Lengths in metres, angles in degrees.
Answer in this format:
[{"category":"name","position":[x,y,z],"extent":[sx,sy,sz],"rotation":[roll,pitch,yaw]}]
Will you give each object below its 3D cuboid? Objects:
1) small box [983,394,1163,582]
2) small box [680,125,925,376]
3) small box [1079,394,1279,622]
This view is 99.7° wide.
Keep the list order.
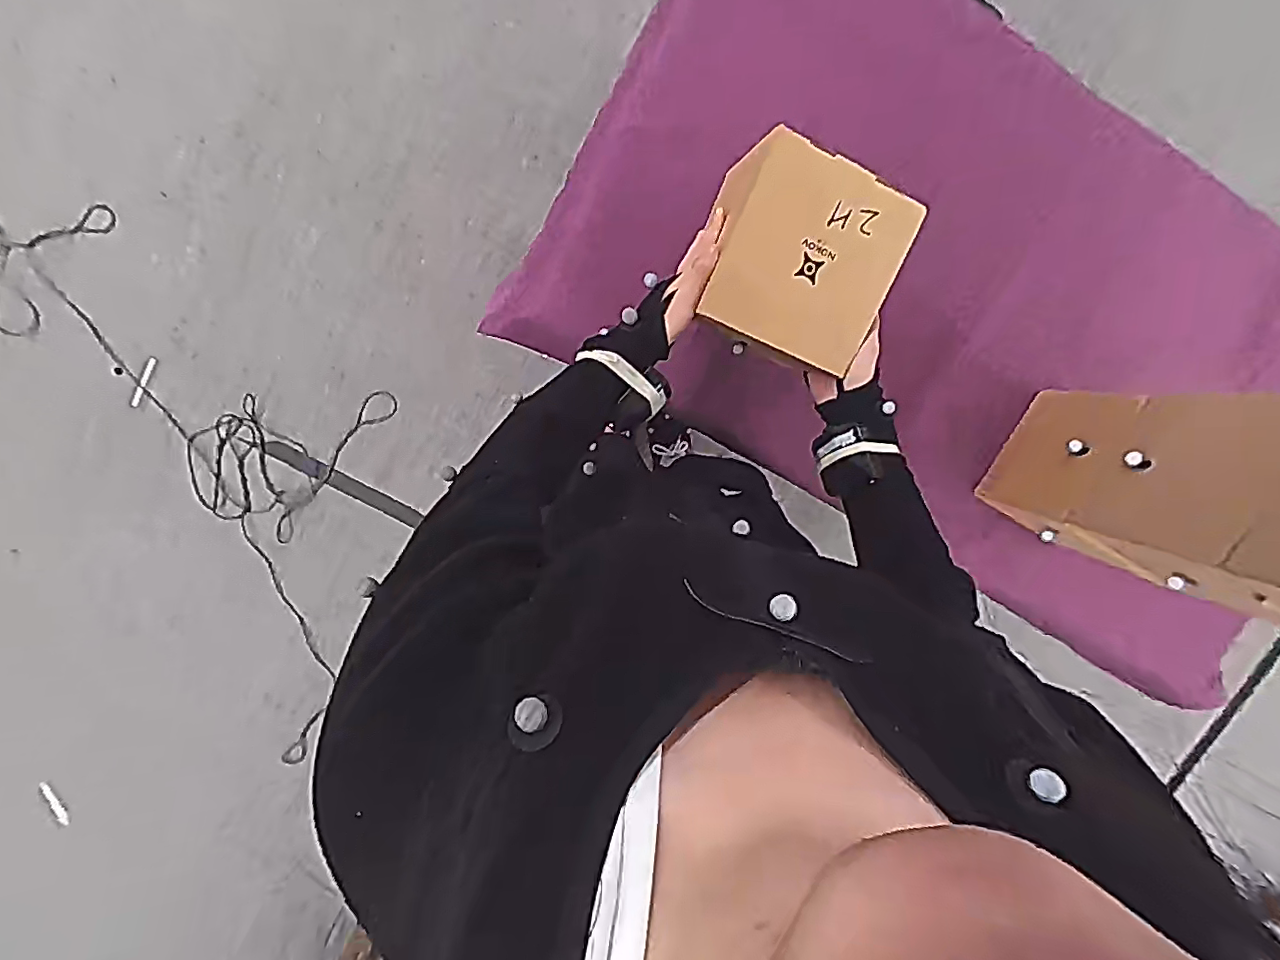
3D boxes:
[{"category":"small box","position":[0.603,0.000,0.718],"extent":[0.168,0.176,0.179],"rotation":[29,97,-7]},{"category":"small box","position":[0.154,-0.230,0.586],"extent":[0.168,0.176,0.179],"rotation":[20,102,-13]},{"category":"small box","position":[0.614,0.026,0.556],"extent":[0.168,0.176,0.179],"rotation":[30,98,-8]}]
